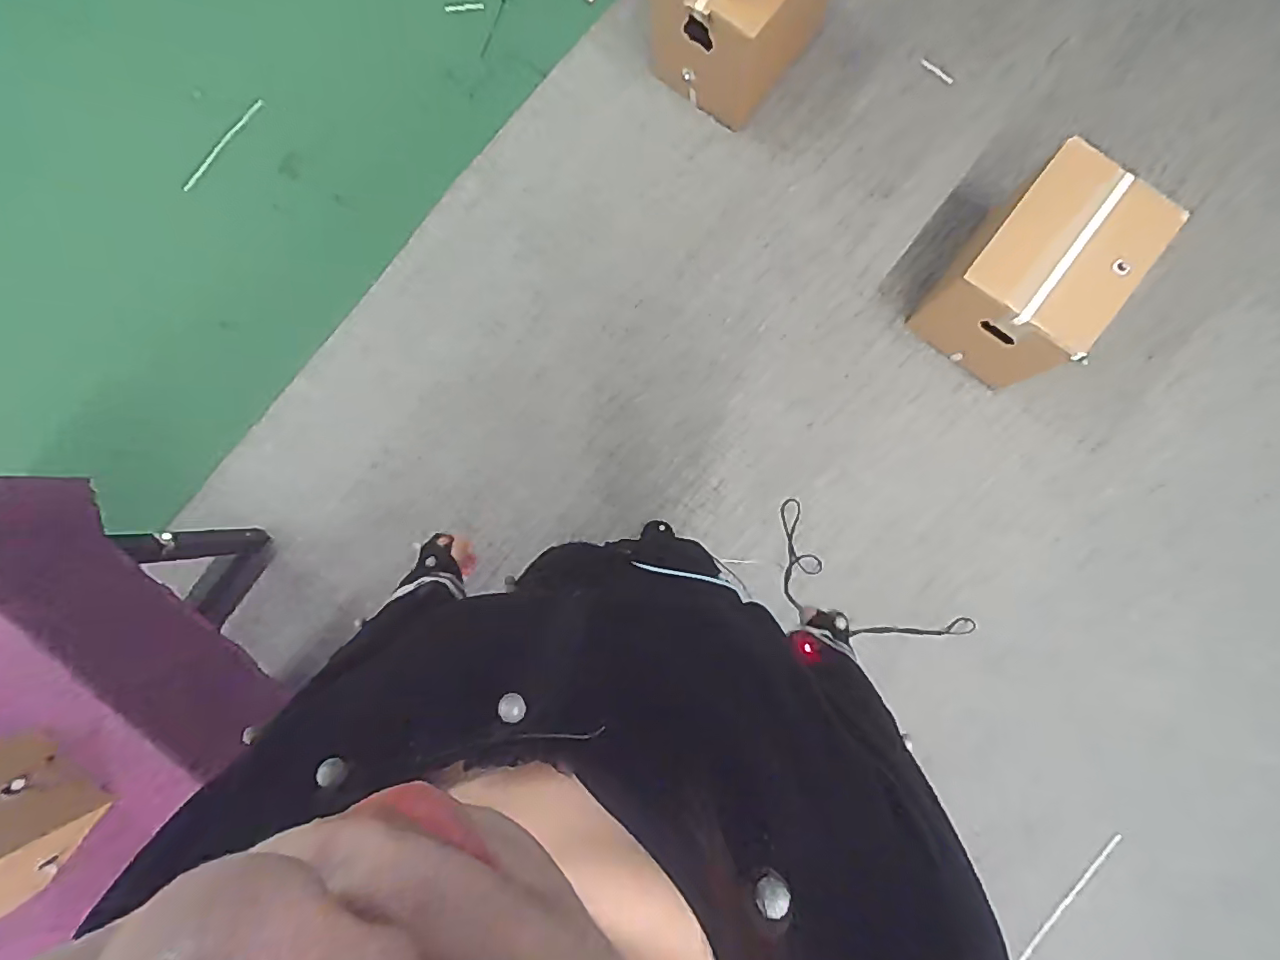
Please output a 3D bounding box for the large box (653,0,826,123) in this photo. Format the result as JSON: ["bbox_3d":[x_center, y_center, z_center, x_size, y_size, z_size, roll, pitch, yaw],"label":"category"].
[{"bbox_3d":[0.271,-1.266,1.410,0.320,0.320,0.408,38,88,4],"label":"large box"}]

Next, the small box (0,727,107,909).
[{"bbox_3d":[-0.890,0.473,0.726,0.168,0.176,0.179,38,89,4],"label":"small box"}]
